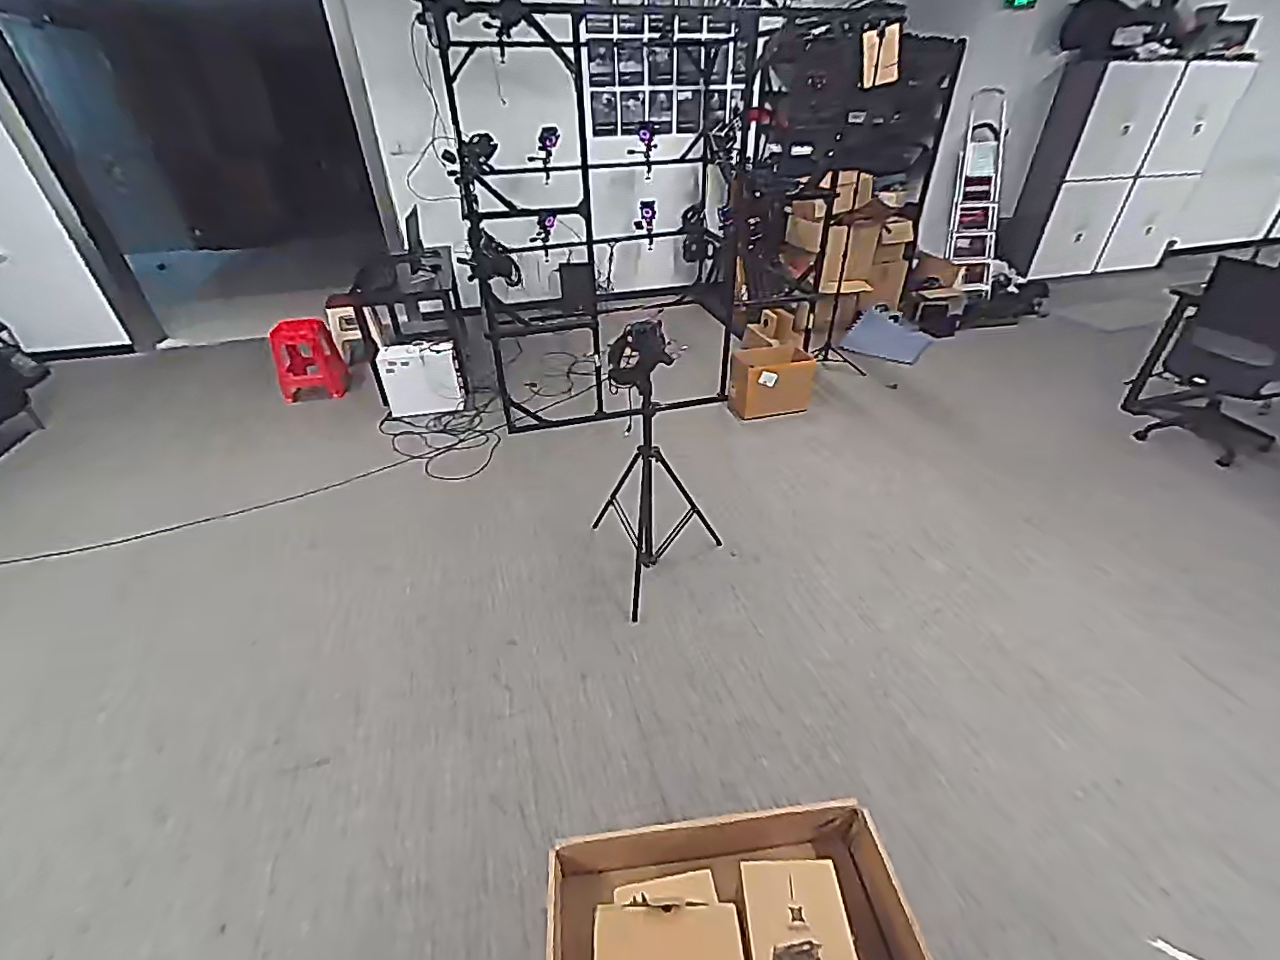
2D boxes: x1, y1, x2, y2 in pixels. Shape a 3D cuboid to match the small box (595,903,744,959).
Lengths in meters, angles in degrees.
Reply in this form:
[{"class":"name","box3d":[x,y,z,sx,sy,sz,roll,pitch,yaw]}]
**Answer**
[{"class":"small box","box3d":[0.029,0.606,0.593,0.168,0.176,0.179,1,30,-3]}]
